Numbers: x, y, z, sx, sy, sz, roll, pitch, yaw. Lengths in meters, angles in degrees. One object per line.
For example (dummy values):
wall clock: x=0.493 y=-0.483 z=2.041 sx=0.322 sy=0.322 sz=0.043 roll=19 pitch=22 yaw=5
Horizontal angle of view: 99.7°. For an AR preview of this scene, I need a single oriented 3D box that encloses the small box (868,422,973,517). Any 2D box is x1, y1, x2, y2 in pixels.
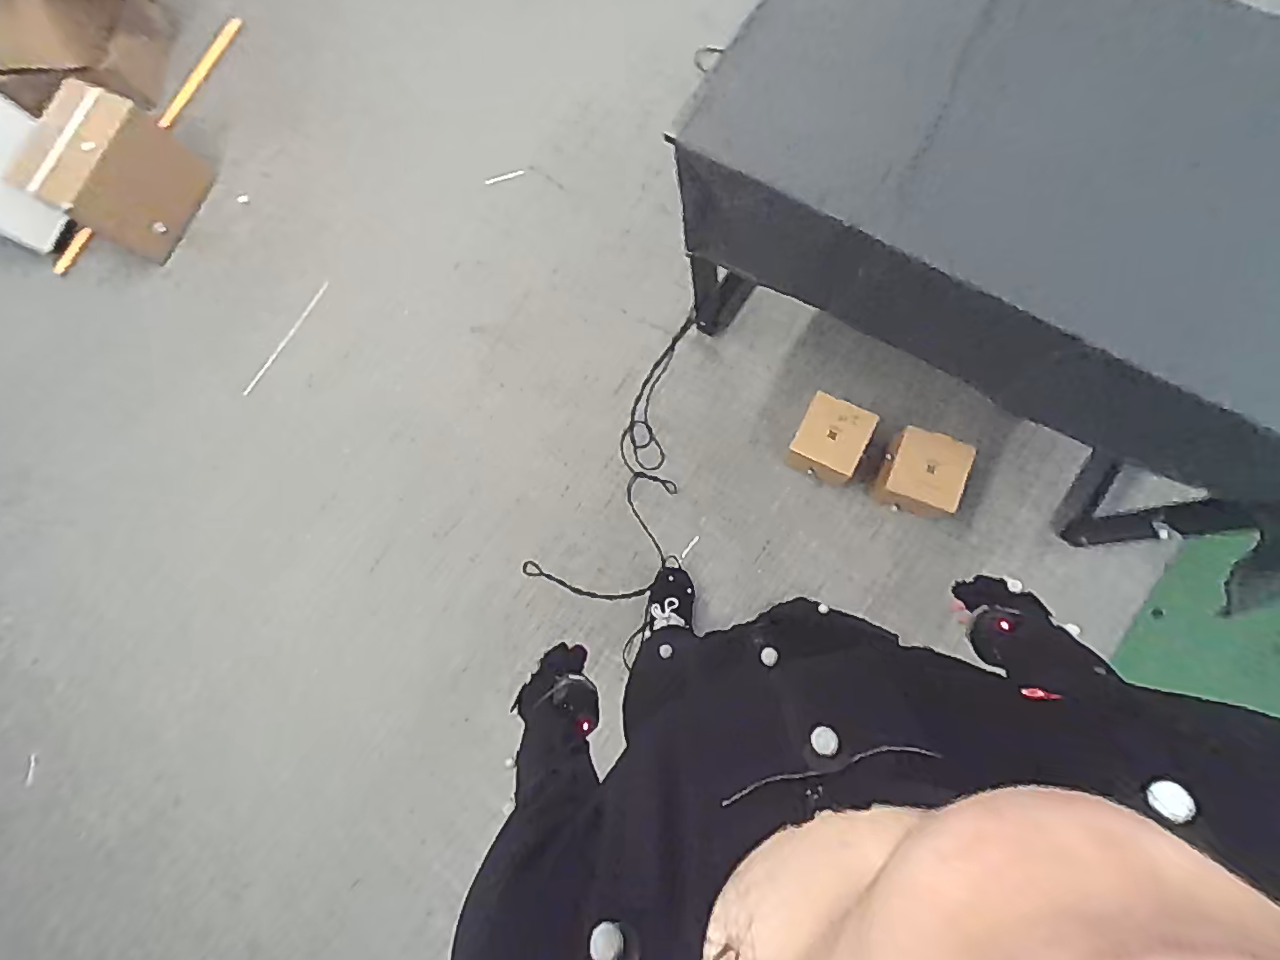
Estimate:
small box: x=0.707 y=-0.020 z=1.385 sx=0.168 sy=0.176 sz=0.179 roll=21 pitch=83 yaw=11
